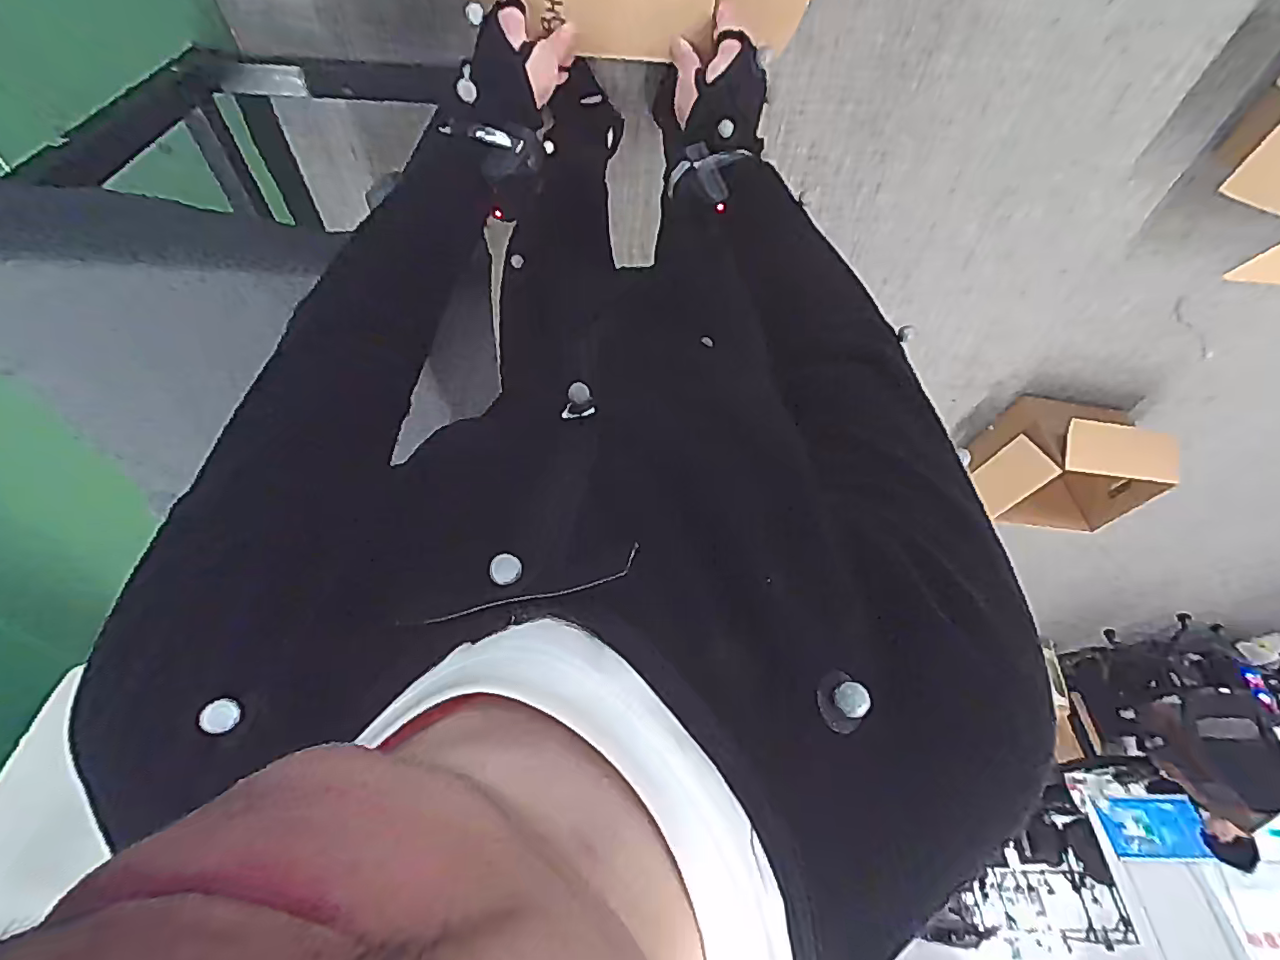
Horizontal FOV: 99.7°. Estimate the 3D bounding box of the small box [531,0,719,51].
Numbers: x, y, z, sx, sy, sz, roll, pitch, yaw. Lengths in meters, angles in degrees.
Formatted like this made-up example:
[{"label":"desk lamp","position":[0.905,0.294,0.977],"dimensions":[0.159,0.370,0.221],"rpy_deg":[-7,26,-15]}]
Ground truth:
[{"label":"small box","position":[-0.011,-0.533,0.515],"dimensions":[0.179,0.176,0.168],"rpy_deg":[2,138,0]}]
